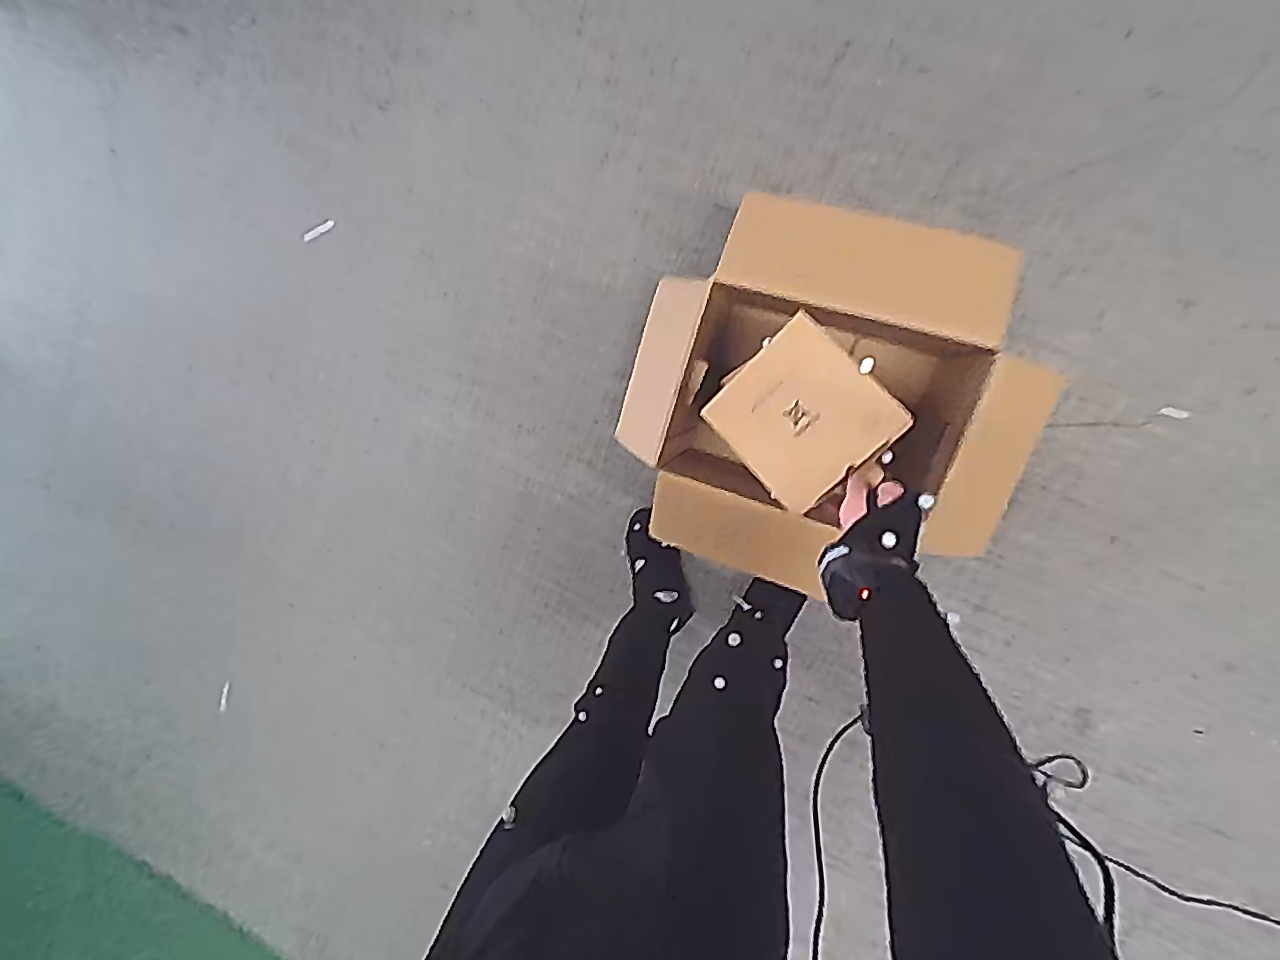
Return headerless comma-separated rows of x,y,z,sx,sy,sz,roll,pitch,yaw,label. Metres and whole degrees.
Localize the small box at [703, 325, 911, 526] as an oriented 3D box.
0.215,-0.064,0.692,0.168,0.176,0.179,-44,74,17,small box
